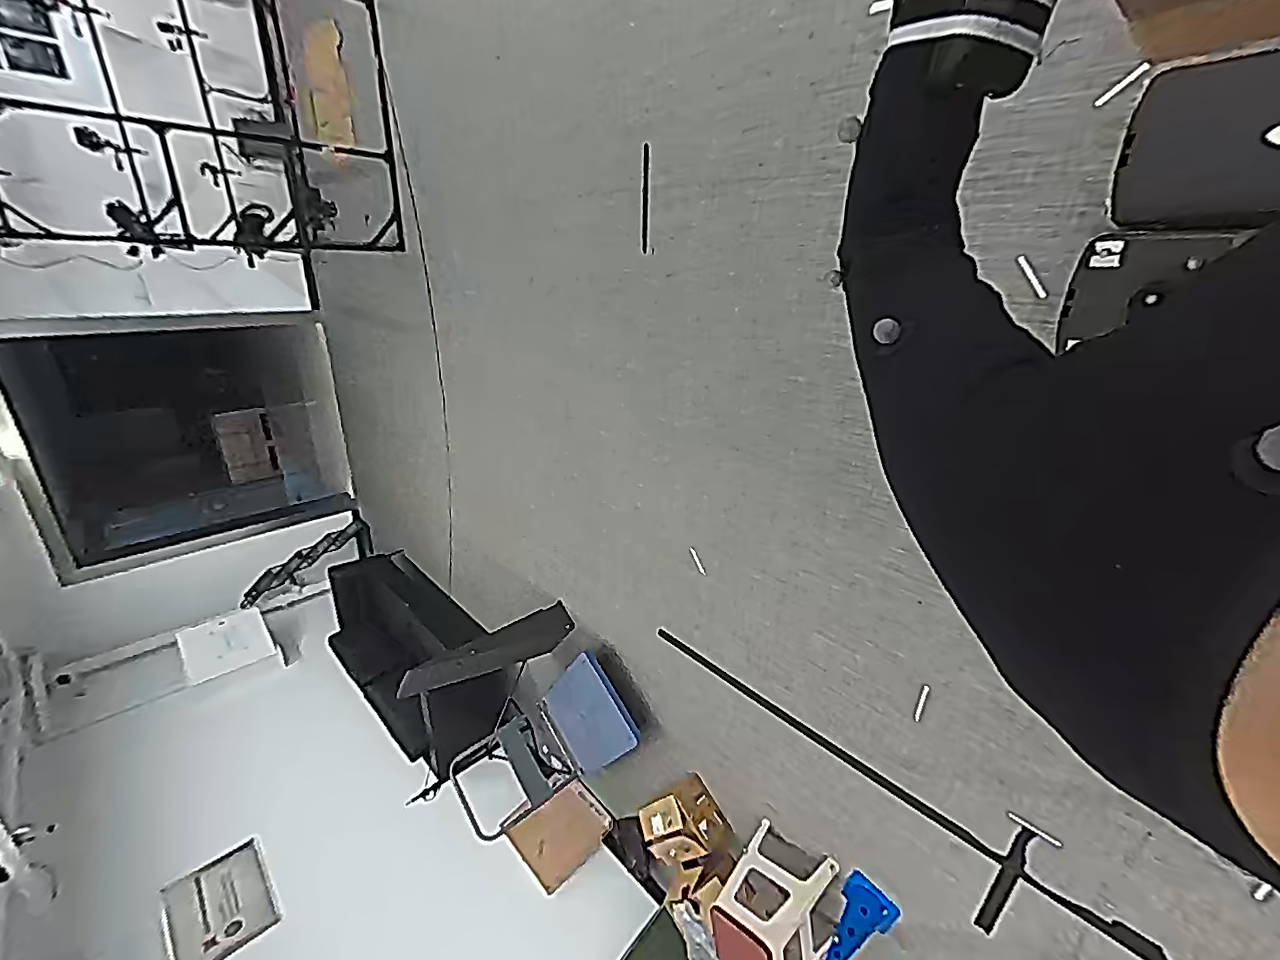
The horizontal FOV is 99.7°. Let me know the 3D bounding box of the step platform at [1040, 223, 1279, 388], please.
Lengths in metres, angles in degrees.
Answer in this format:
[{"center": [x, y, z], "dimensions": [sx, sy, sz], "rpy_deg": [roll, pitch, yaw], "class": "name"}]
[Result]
[{"center": [1.189, -0.330, 1.026], "dimensions": [0.684, 0.204, 0.286], "rpy_deg": [22, 119, 43], "class": "step platform"}]
